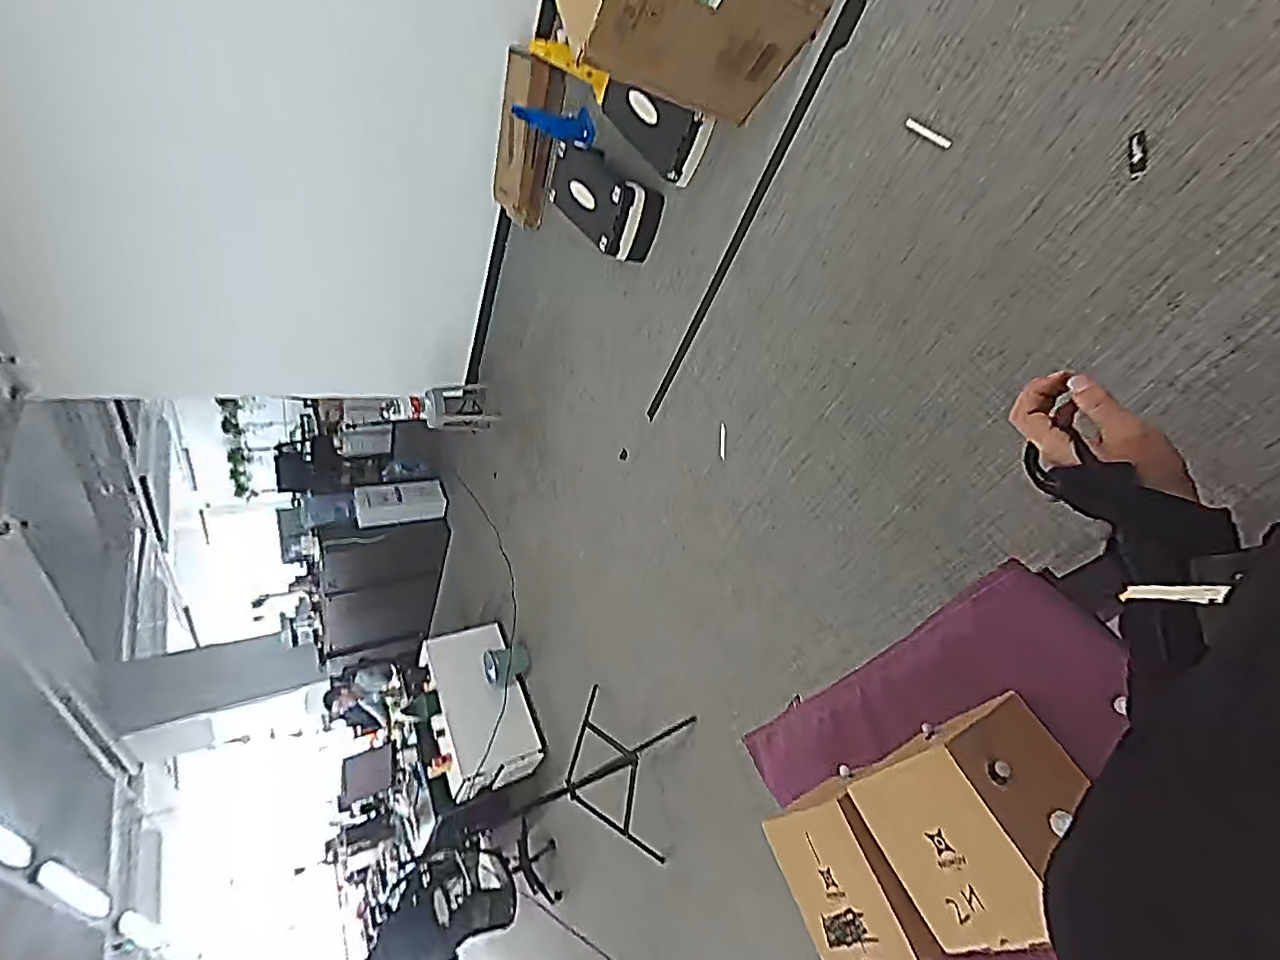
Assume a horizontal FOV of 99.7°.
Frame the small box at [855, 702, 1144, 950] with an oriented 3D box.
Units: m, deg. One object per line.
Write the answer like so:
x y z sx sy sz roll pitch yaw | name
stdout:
0.391 0.371 0.604 0.179 0.176 0.168 59 141 30 | small box

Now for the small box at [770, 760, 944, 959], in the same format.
0.320 0.508 0.732 0.168 0.176 0.179 -55 51 43 | small box
